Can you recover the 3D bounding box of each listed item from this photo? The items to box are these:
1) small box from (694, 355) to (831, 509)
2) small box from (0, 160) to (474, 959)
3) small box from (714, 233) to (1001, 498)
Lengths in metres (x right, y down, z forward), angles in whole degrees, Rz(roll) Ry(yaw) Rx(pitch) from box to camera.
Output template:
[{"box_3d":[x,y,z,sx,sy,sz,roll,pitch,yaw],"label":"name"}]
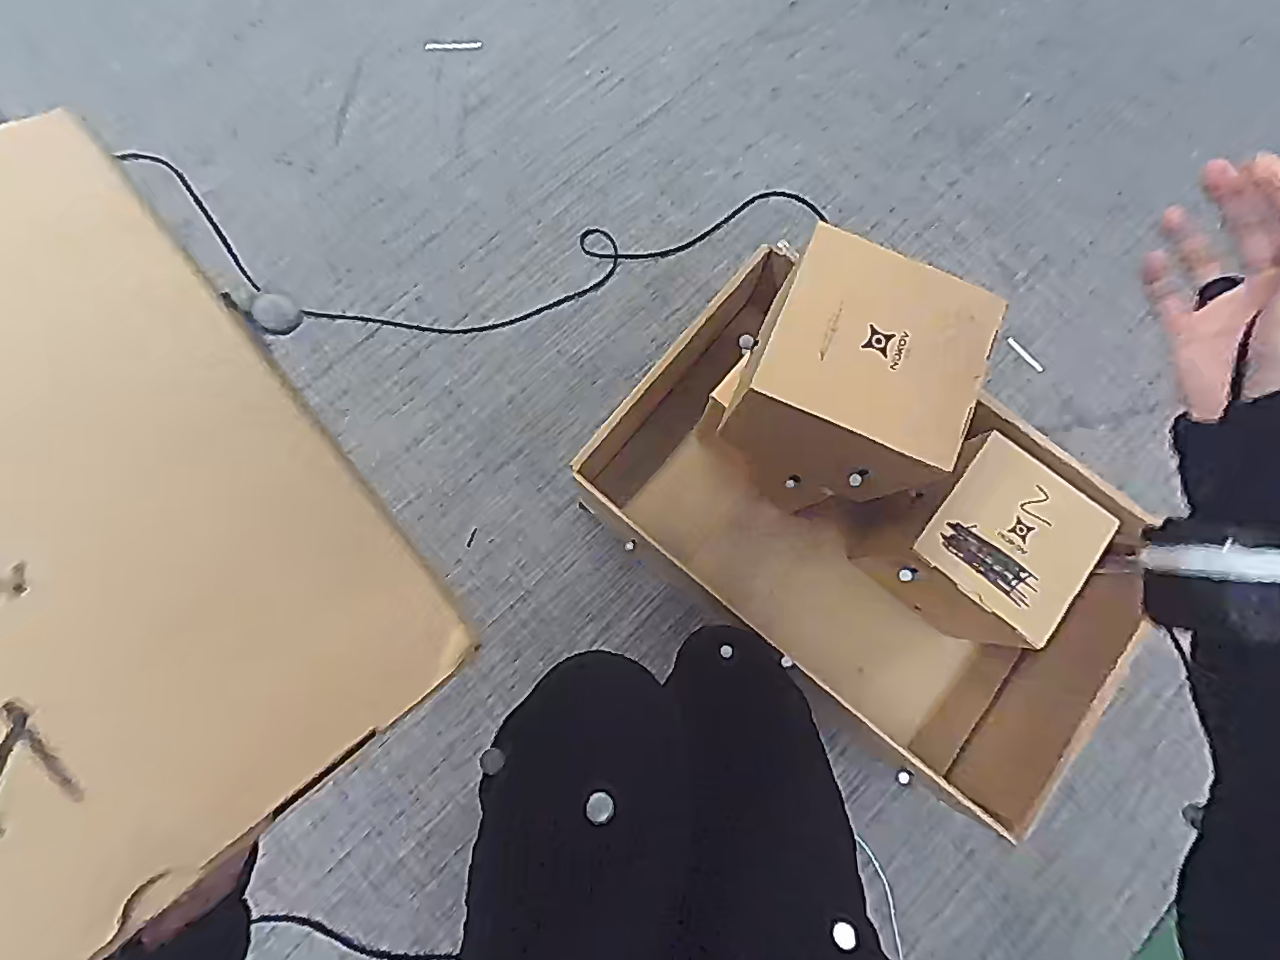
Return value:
[{"box_3d":[0.188,-0.079,0.685,0.179,0.176,0.168,40,81,4],"label":"small box"},{"box_3d":[-0.182,0.042,0.192,0.168,0.176,0.179,-37,95,-21],"label":"small box"},{"box_3d":[0.190,-0.091,0.522,0.179,0.176,0.168,24,80,2],"label":"small box"}]
